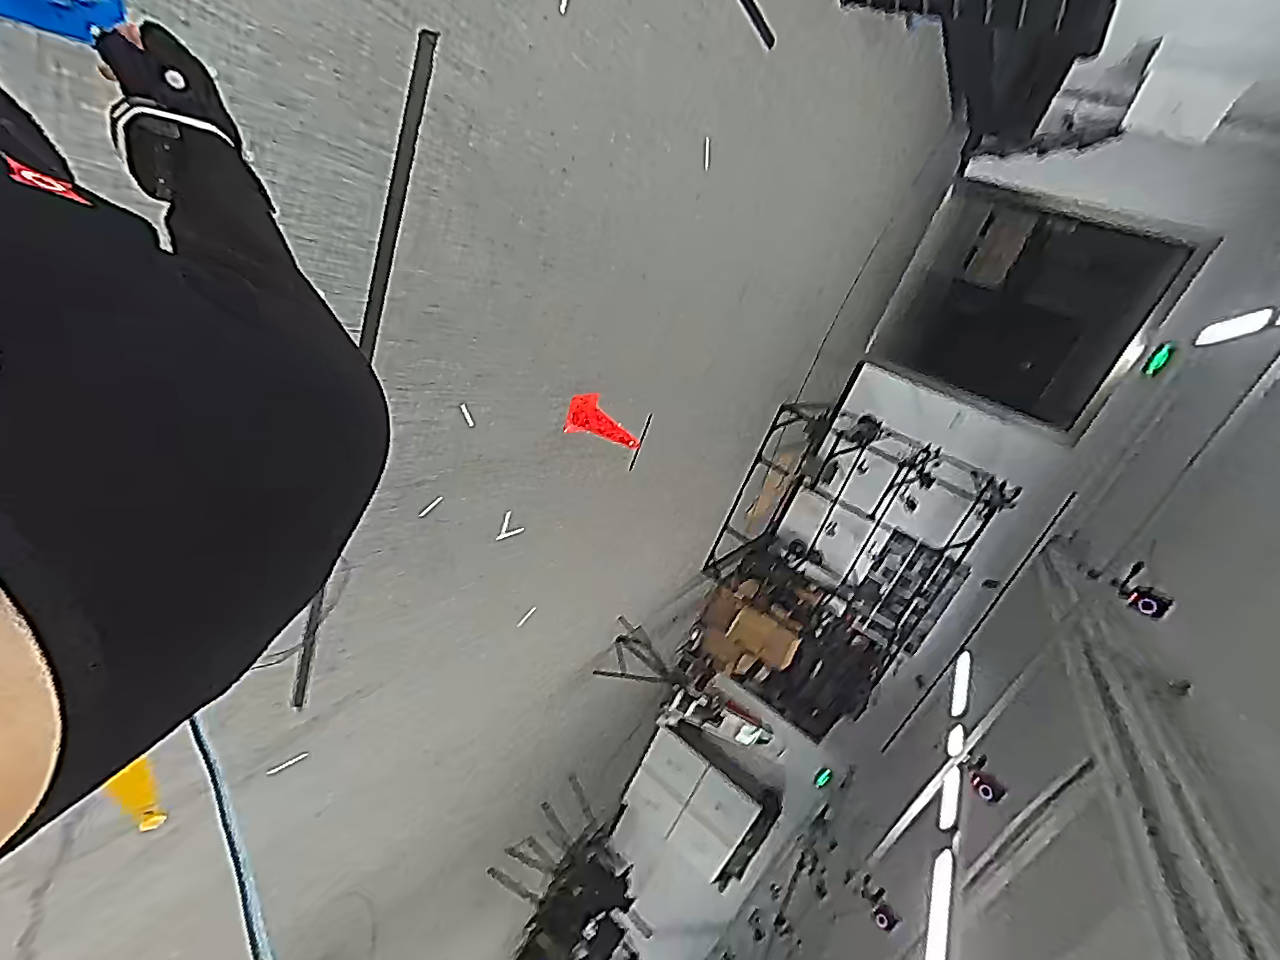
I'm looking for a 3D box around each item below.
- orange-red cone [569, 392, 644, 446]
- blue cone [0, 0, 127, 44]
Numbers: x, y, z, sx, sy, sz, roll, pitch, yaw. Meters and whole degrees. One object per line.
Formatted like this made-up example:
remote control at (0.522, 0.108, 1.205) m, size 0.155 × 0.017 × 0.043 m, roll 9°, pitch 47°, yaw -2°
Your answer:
orange-red cone at (-0.131, -0.252, 2.538) m, size 0.198 × 0.360 × 0.199 m, roll -20°, pitch 134°, yaw -54°
blue cone at (-0.797, -0.734, 0.761) m, size 0.192 × 0.380 × 0.193 m, roll -20°, pitch 136°, yaw -53°
